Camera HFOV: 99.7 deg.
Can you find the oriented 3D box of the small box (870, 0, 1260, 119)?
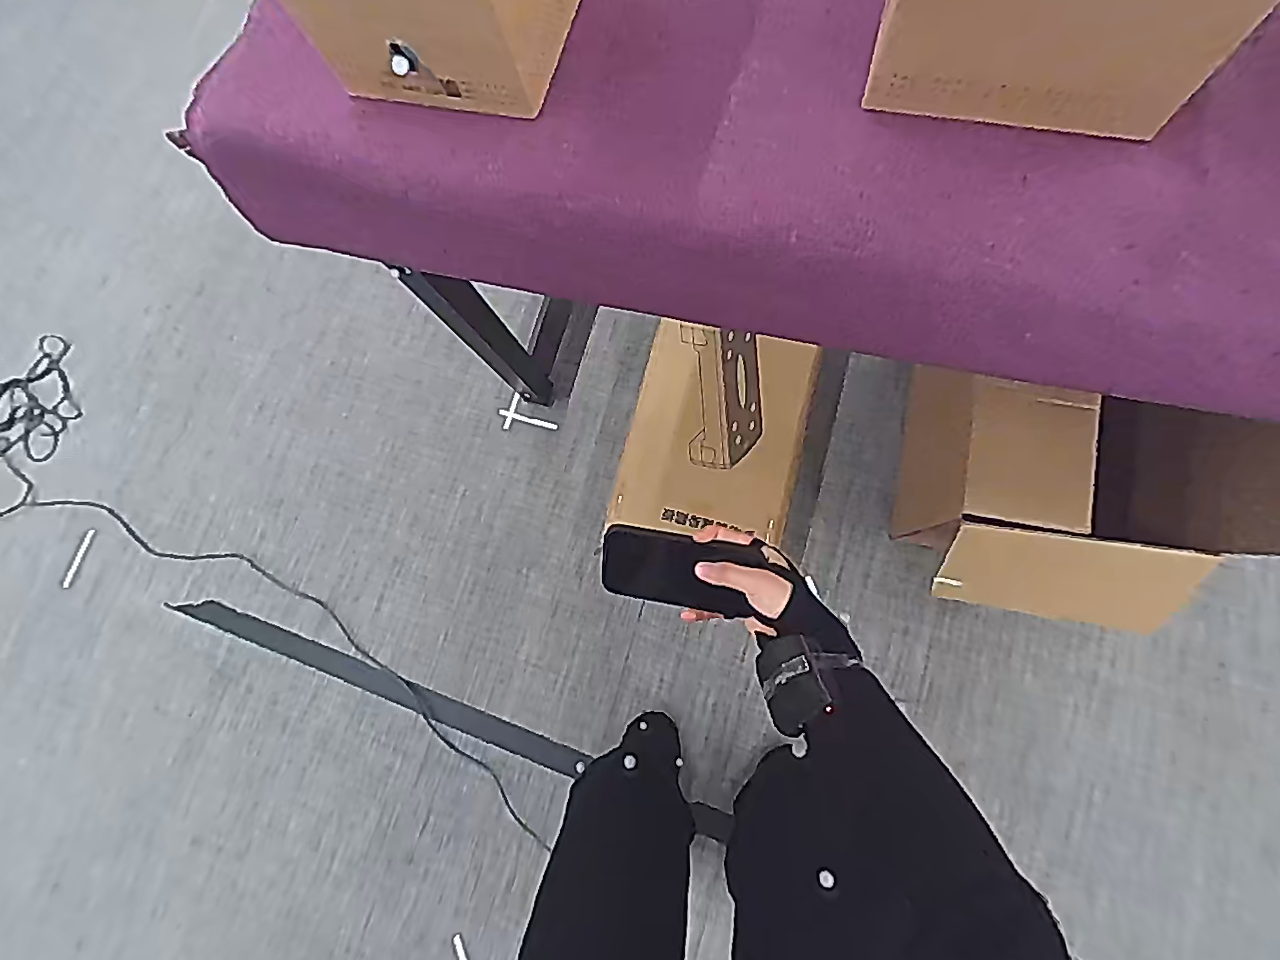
[{"bbox_3d":[0.245,-0.330,0.282,0.179,0.176,0.168,14,79,10],"label":"small box"}]
